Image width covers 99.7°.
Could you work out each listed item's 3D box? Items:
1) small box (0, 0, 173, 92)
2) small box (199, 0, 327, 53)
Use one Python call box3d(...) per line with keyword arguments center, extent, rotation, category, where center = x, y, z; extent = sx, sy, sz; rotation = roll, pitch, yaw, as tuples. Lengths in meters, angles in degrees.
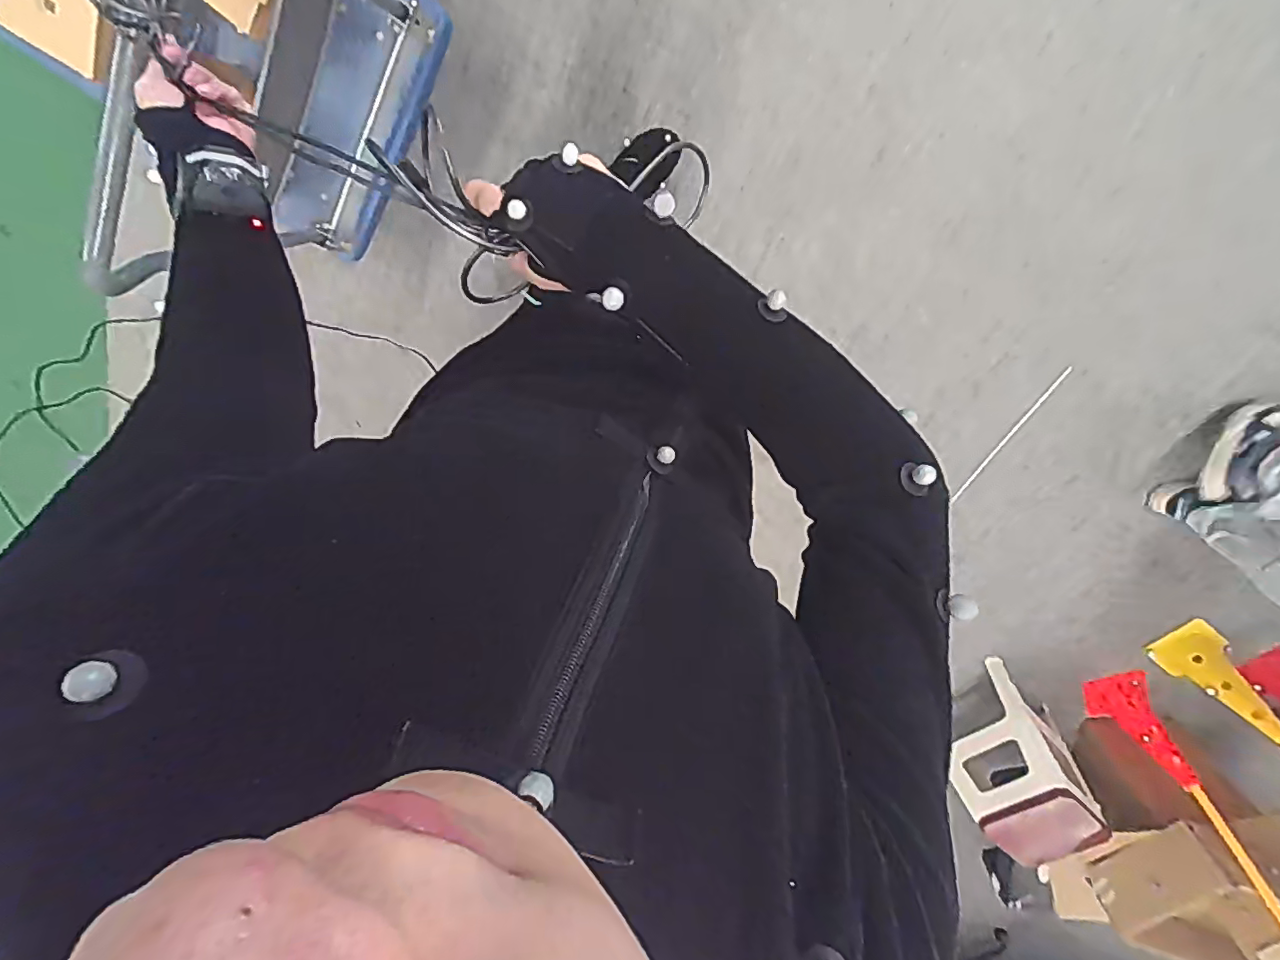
box3d(center=(-1.060, -0.888, 1.042), extent=(0.179, 0.176, 0.168), rotation=(30, 116, -11), category="small box")
box3d(center=(-0.716, -0.934, 0.991), extent=(0.179, 0.176, 0.168), rotation=(34, 116, -14), category="small box")
